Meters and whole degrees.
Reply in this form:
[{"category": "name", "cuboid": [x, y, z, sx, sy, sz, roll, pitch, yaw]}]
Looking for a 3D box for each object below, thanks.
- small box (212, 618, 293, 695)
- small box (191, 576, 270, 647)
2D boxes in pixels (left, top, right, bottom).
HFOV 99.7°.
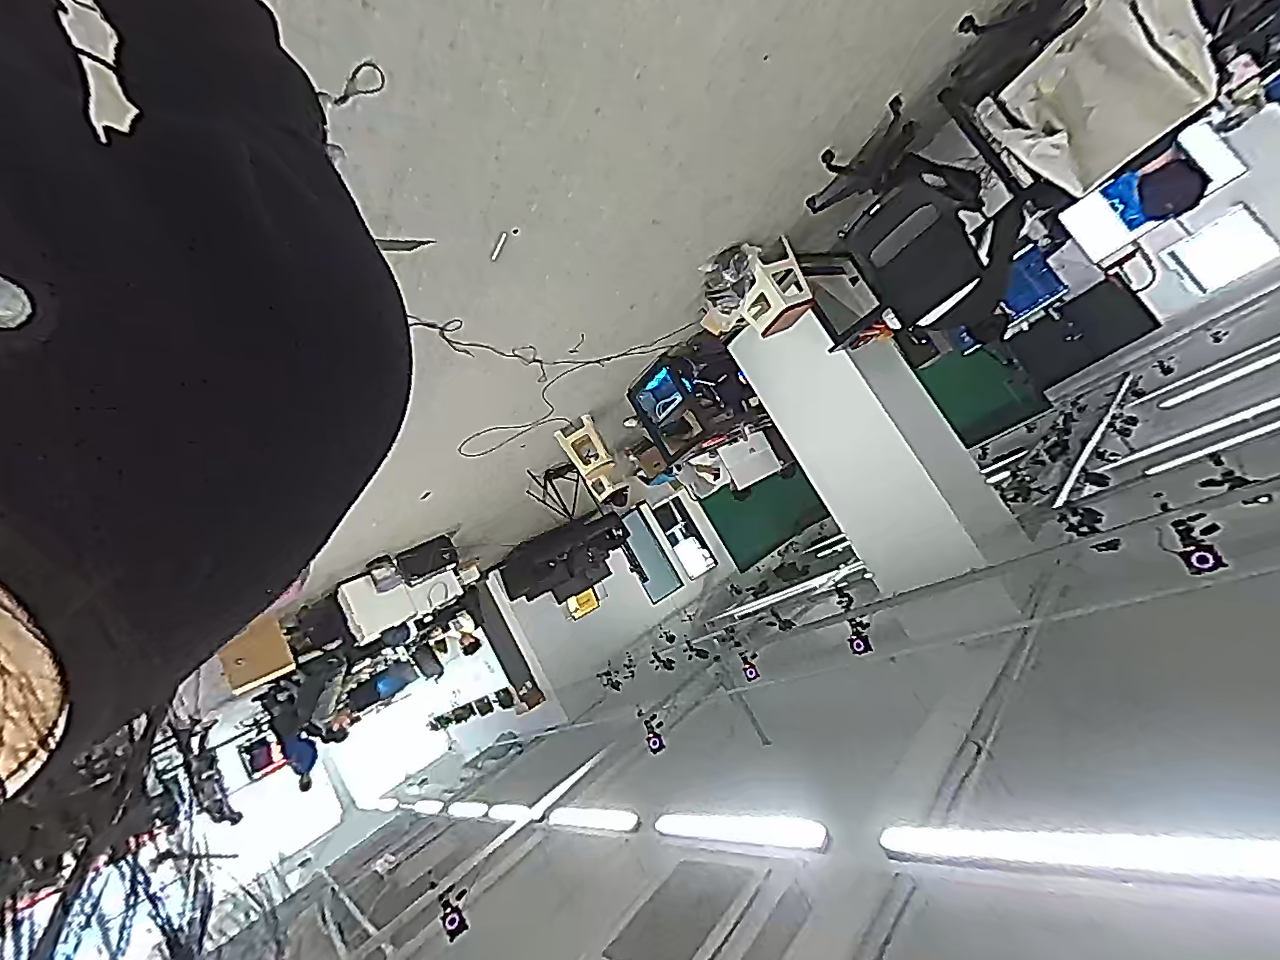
[{"category": "small box", "cuboid": [-1.271, 0.578, 1.773, 0.179, 0.176, 0.168, -25, 172, -38]}, {"category": "small box", "cuboid": [-1.352, 0.439, 1.793, 0.168, 0.176, 0.179, -24, 170, -40]}]
